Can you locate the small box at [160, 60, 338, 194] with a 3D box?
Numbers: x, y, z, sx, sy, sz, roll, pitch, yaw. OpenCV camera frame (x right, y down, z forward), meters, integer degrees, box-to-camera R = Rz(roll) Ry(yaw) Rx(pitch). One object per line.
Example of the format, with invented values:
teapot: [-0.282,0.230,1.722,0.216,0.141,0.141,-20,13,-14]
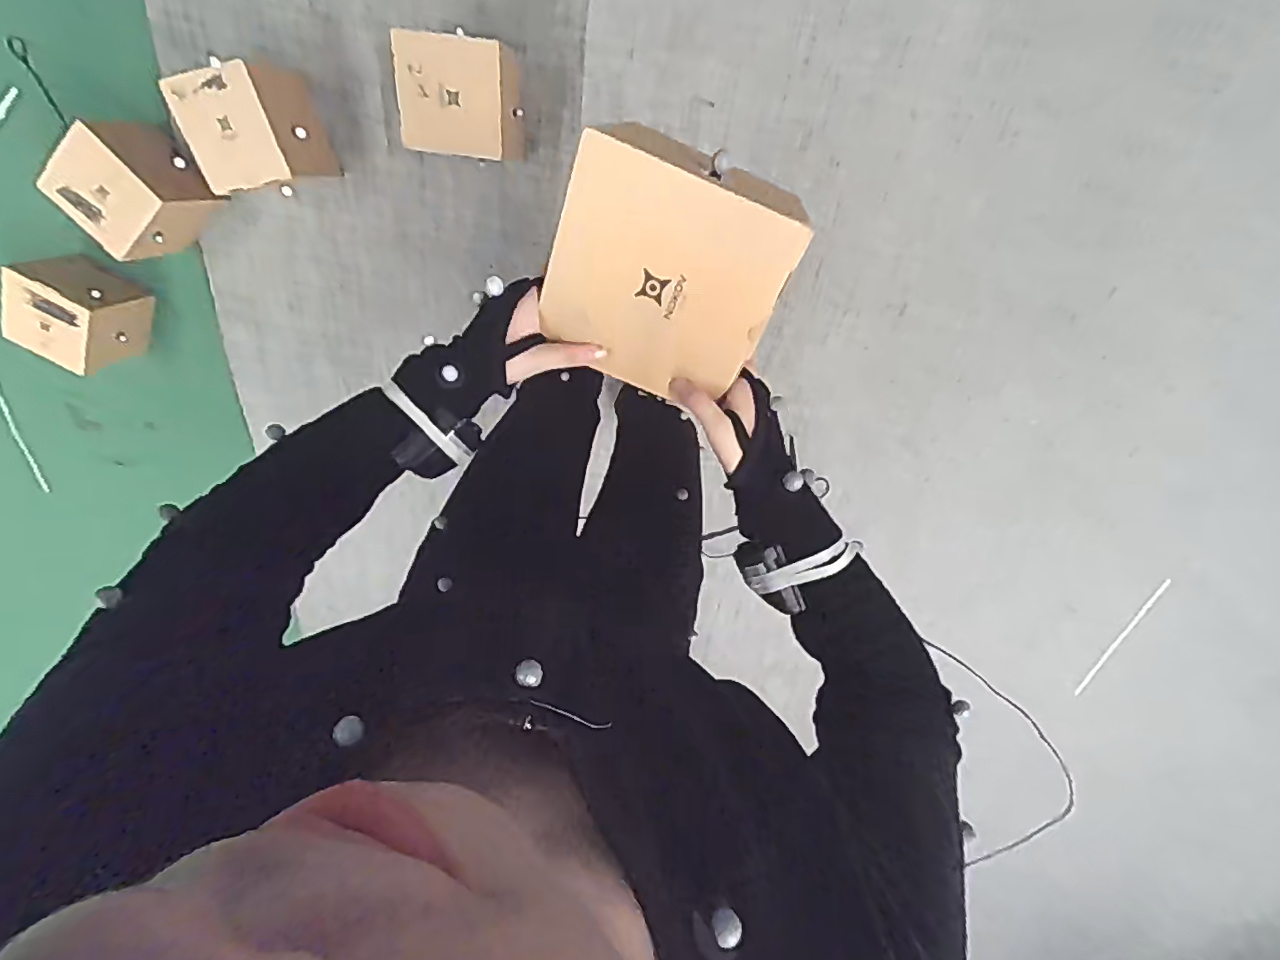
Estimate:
small box: [-0.703,-0.645,0.999,0.168,0.176,0.179,-6,120,8]

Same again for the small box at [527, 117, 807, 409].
small box: [0.025,-0.197,0.486,0.179,0.176,0.168,23,125,-4]

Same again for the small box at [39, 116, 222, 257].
small box: [-0.986,-0.571,1.063,0.179,0.176,0.168,-31,113,19]

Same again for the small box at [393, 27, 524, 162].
small box: [-0.308,-0.668,0.955,0.179,0.176,0.168,7,120,-1]
